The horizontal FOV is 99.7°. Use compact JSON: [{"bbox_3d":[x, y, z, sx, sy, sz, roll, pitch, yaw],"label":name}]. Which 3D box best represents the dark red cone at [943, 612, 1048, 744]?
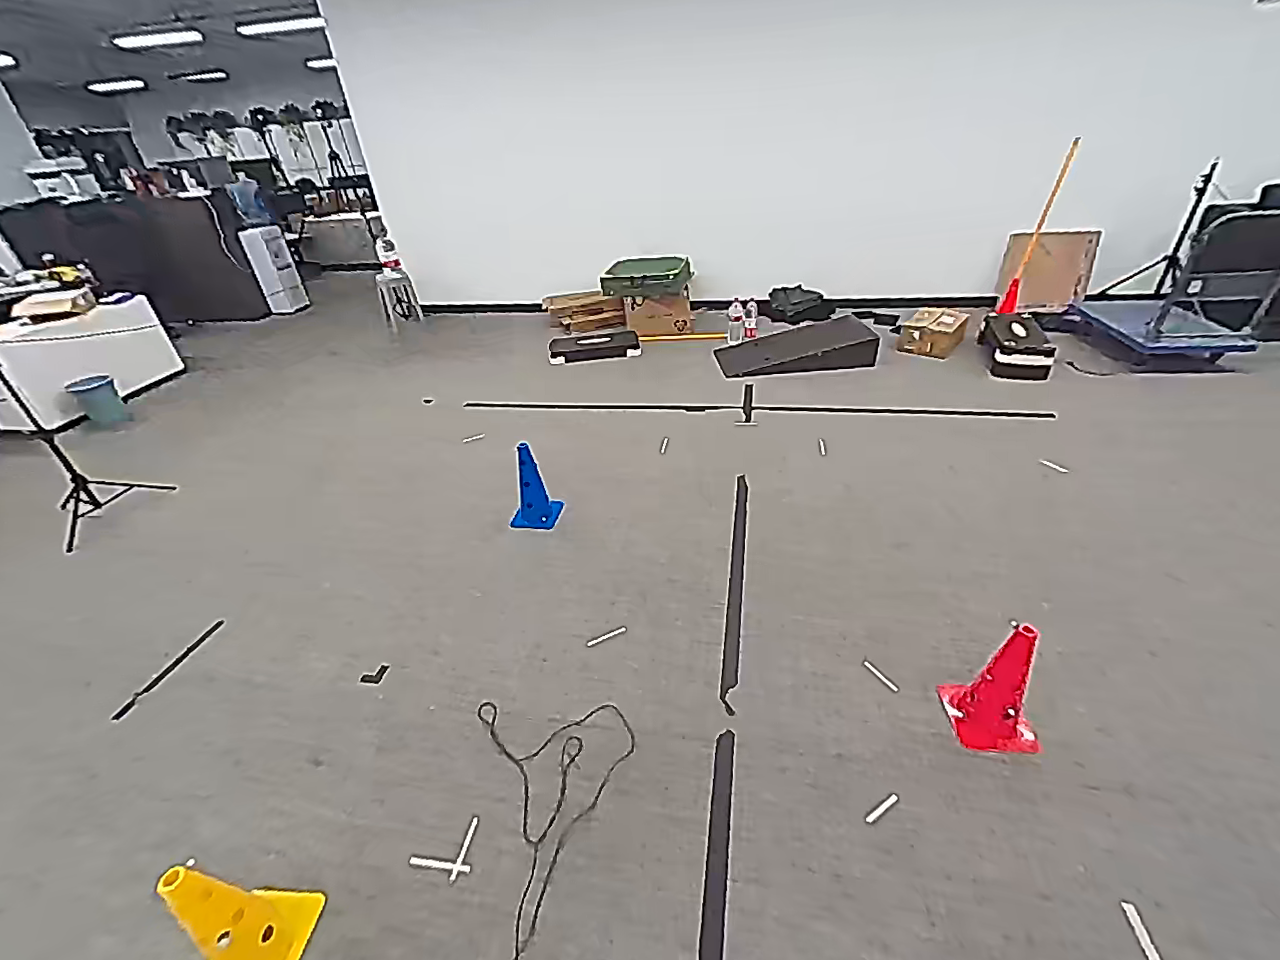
[{"bbox_3d":[0.942,0.482,1.377,0.201,0.394,0.202,-2,33,5],"label":"dark red cone"}]

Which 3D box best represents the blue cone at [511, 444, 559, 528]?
[{"bbox_3d":[-0.477,0.017,2.310,0.192,0.380,0.193,2,34,12],"label":"blue cone"}]
